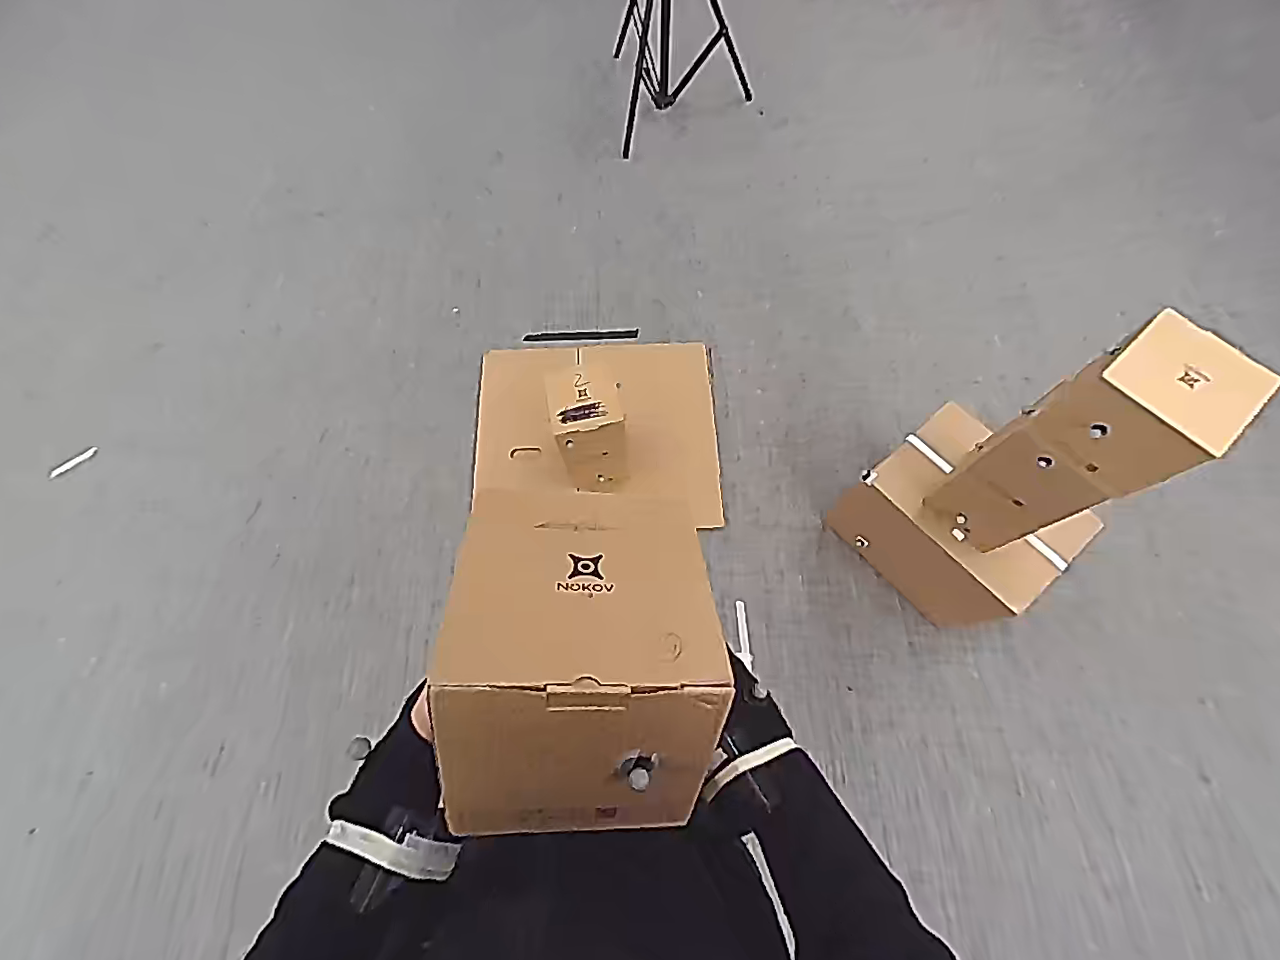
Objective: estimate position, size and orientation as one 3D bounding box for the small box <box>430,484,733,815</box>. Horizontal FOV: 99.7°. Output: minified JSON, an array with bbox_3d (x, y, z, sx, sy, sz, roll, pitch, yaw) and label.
[{"bbox_3d":[-0.045,0.123,0.399,0.168,0.176,0.179,3,34,-10],"label":"small box"}]

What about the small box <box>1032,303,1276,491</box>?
[{"bbox_3d":[0.728,-0.112,0.793,0.179,0.176,0.168,-40,73,-14],"label":"small box"}]

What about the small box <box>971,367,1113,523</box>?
[{"bbox_3d":[0.730,-0.055,0.946,0.179,0.176,0.168,-40,72,-14],"label":"small box"}]

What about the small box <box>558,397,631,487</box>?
[{"bbox_3d":[-0.121,-0.101,1.476,0.168,0.176,0.179,-11,69,-1],"label":"small box"}]

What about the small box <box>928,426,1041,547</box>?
[{"bbox_3d":[0.730,0.008,1.097,0.179,0.176,0.168,-40,73,-13],"label":"small box"}]
